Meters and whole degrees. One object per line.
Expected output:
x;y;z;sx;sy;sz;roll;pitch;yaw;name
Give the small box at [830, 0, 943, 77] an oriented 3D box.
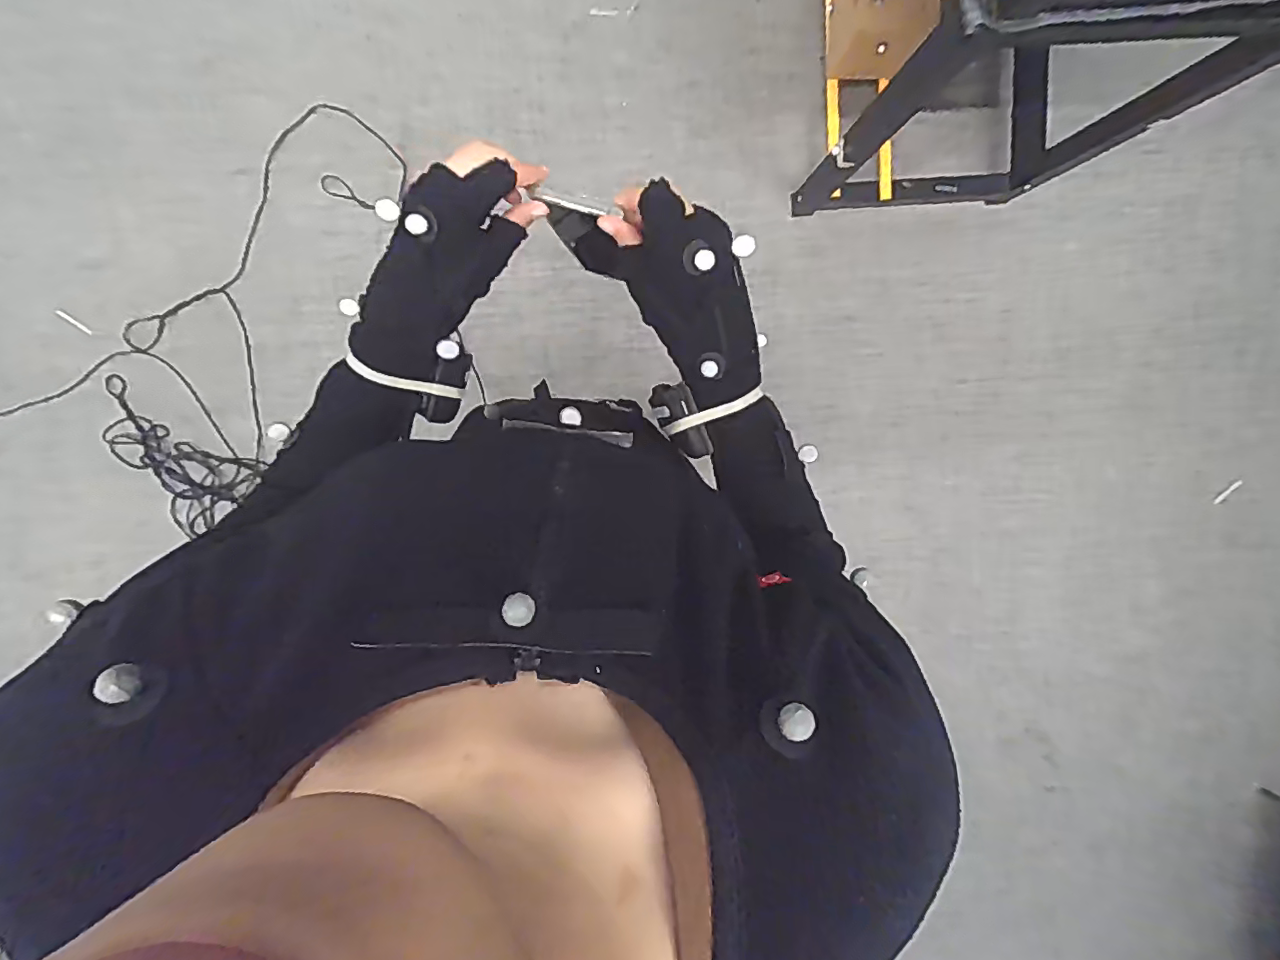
0.525;-1.007;1.167;0.179;0.176;0.168;-1;98;-2;small box
